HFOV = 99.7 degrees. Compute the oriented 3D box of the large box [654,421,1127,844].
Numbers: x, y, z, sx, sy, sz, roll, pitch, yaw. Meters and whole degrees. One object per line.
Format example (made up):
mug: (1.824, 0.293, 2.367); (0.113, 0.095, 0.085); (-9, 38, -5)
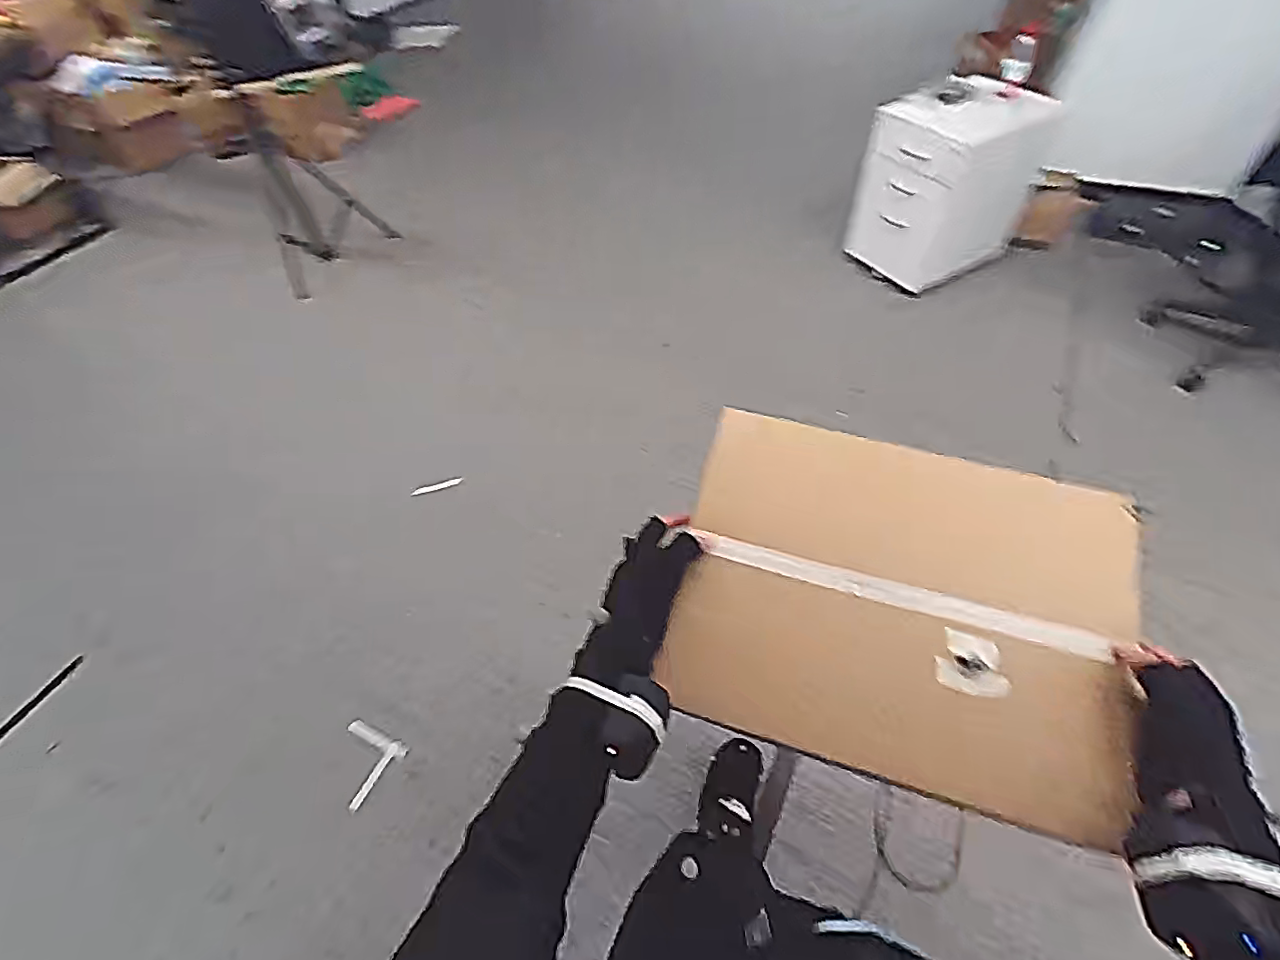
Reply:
large box: (0.253, 0.170, 0.656); (0.408, 0.320, 0.320); (15, 70, 11)
